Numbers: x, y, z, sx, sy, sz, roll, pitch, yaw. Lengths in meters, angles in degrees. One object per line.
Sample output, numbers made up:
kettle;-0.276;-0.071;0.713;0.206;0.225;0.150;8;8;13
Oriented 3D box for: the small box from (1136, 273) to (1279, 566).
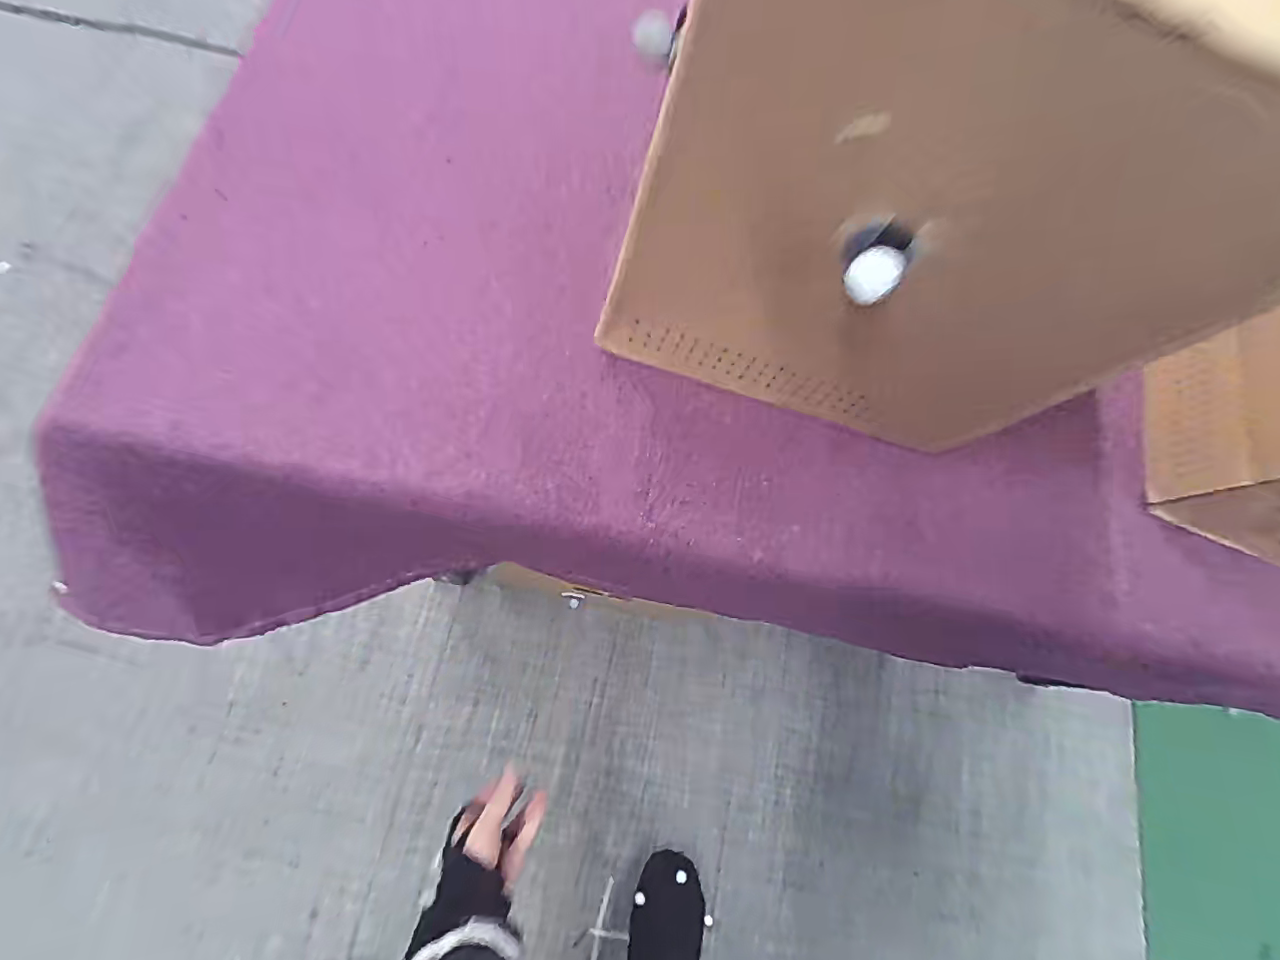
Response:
small box;0.380;-0.057;0.248;0.168;0.176;0.179;20;72;-6
